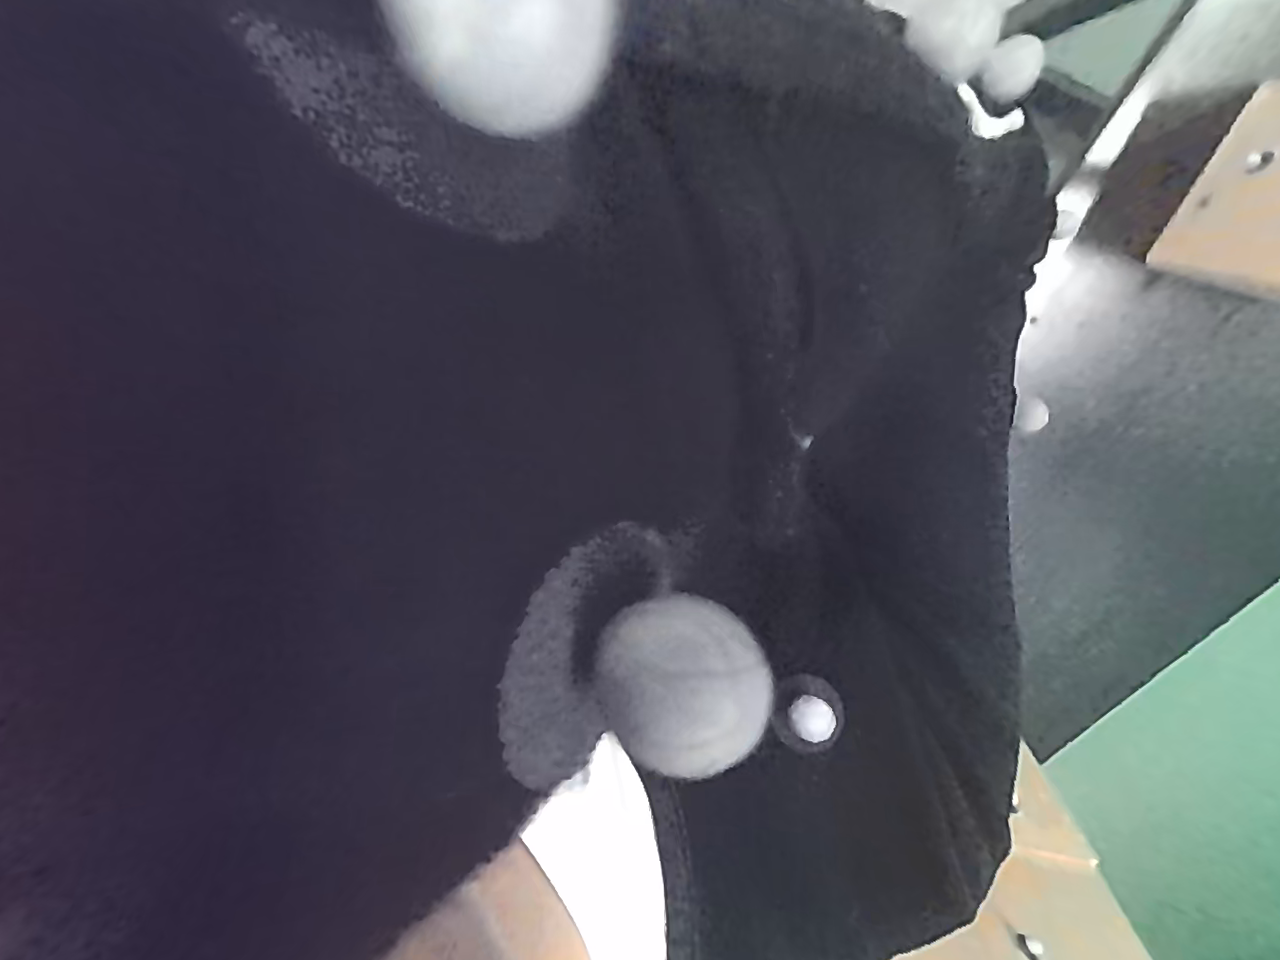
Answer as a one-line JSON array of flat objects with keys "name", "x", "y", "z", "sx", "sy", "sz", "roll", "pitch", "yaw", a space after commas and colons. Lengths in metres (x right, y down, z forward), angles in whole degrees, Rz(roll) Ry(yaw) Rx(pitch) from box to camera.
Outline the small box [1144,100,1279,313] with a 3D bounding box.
[{"name": "small box", "x": 0.641, "y": -0.238, "z": 0.488, "sx": 0.179, "sy": 0.176, "sz": 0.168, "roll": 15, "pitch": 119, "yaw": -3}]
